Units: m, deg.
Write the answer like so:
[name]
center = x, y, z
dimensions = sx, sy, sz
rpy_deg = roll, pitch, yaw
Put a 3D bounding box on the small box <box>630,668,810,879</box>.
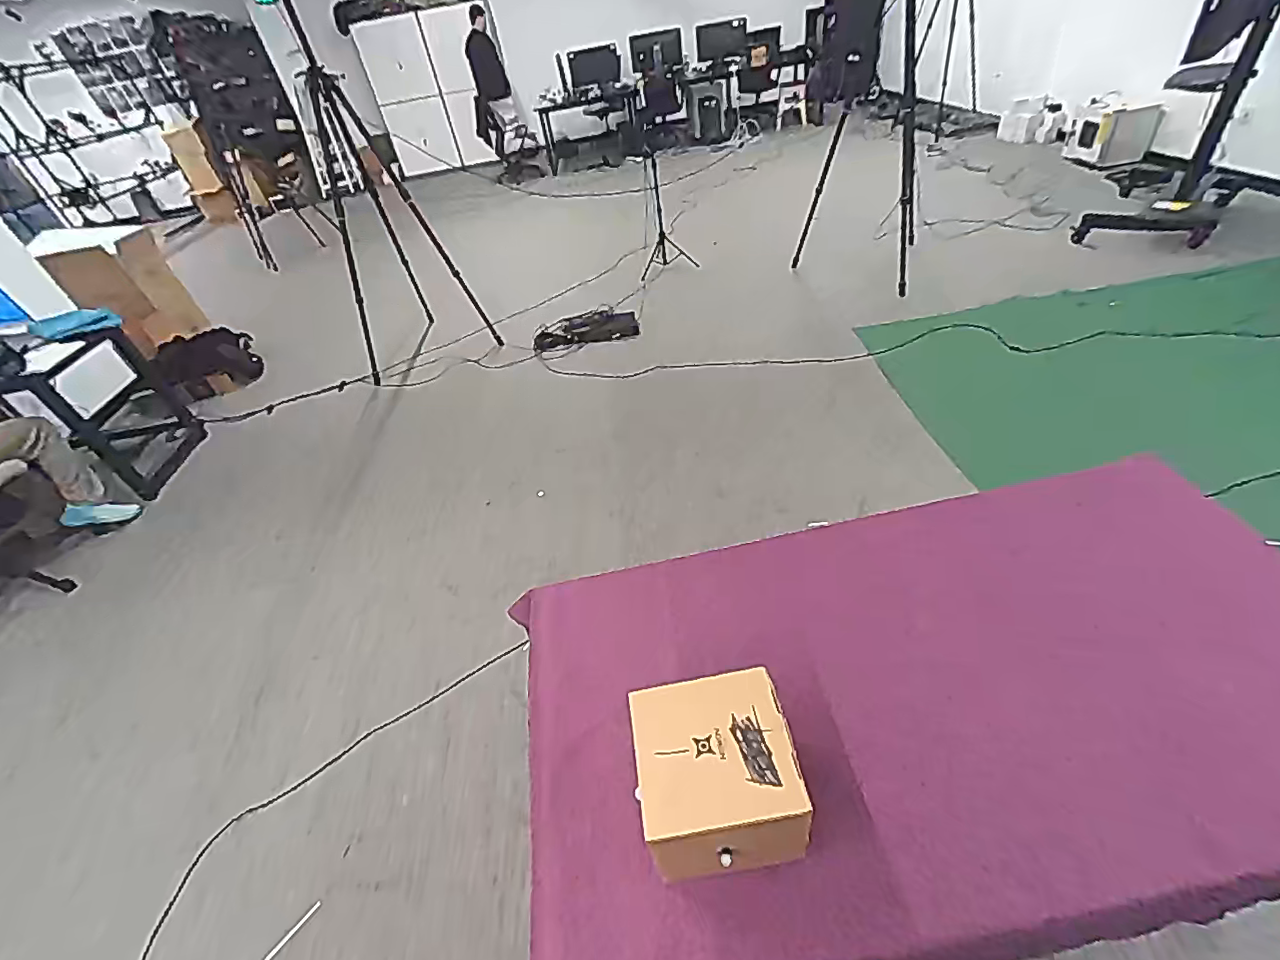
[small box]
center = 0.092, 0.360, 0.663
dimensions = 0.179, 0.176, 0.168
rpy_deg = -12, 40, 1
